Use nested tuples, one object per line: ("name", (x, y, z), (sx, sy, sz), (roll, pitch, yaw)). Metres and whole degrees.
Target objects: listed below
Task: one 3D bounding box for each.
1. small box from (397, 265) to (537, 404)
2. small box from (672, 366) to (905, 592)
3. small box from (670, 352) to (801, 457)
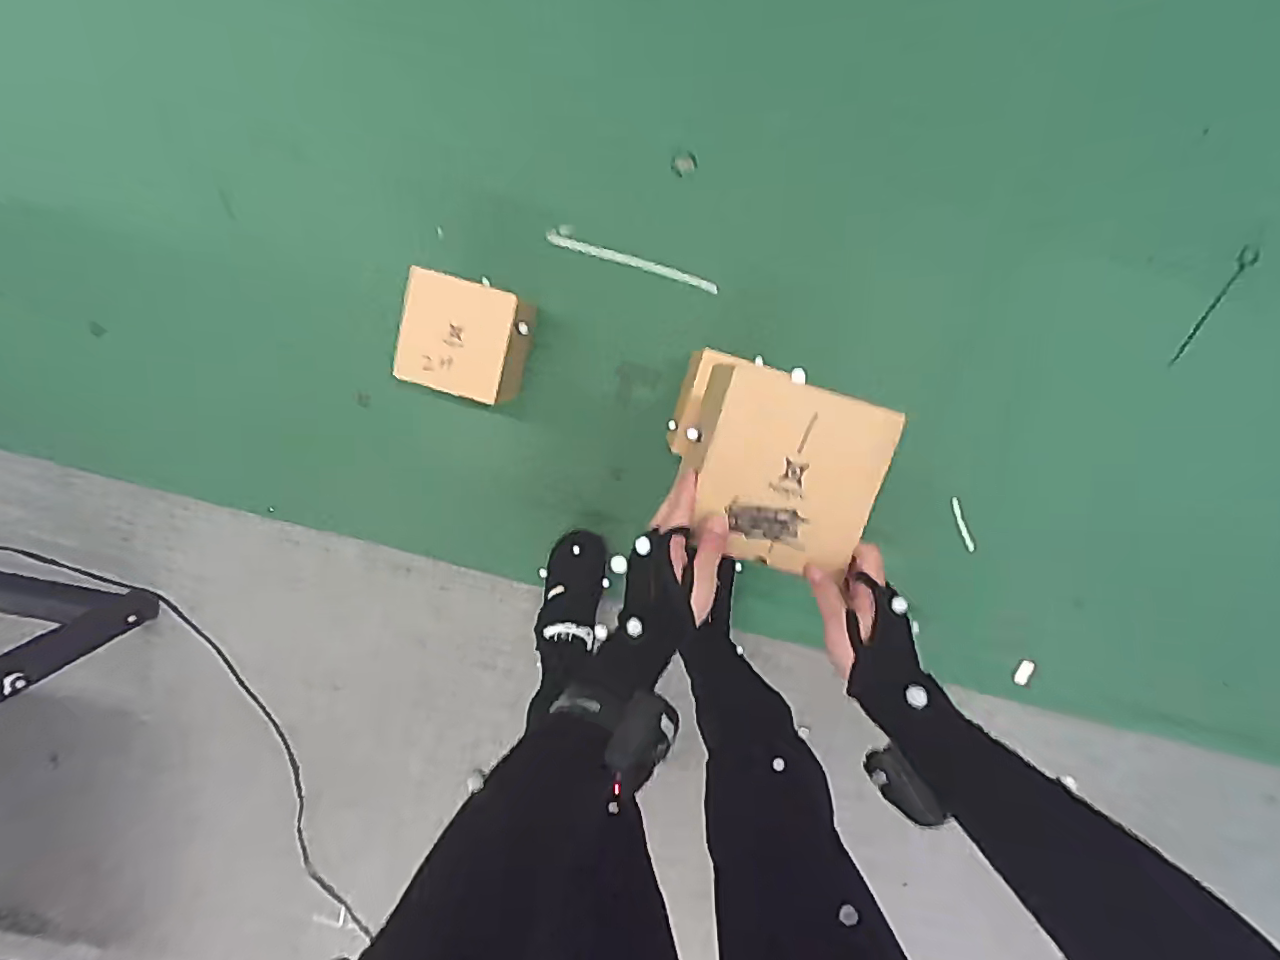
("small box", (-0.284, -0.242, 0.923), (0.168, 0.176, 0.179), (16, 102, -3))
("small box", (0.136, -0.013, 0.574), (0.168, 0.176, 0.179), (18, 102, -4))
("small box", (0.155, -0.117, 0.952), (0.168, 0.176, 0.179), (17, 103, -4))
